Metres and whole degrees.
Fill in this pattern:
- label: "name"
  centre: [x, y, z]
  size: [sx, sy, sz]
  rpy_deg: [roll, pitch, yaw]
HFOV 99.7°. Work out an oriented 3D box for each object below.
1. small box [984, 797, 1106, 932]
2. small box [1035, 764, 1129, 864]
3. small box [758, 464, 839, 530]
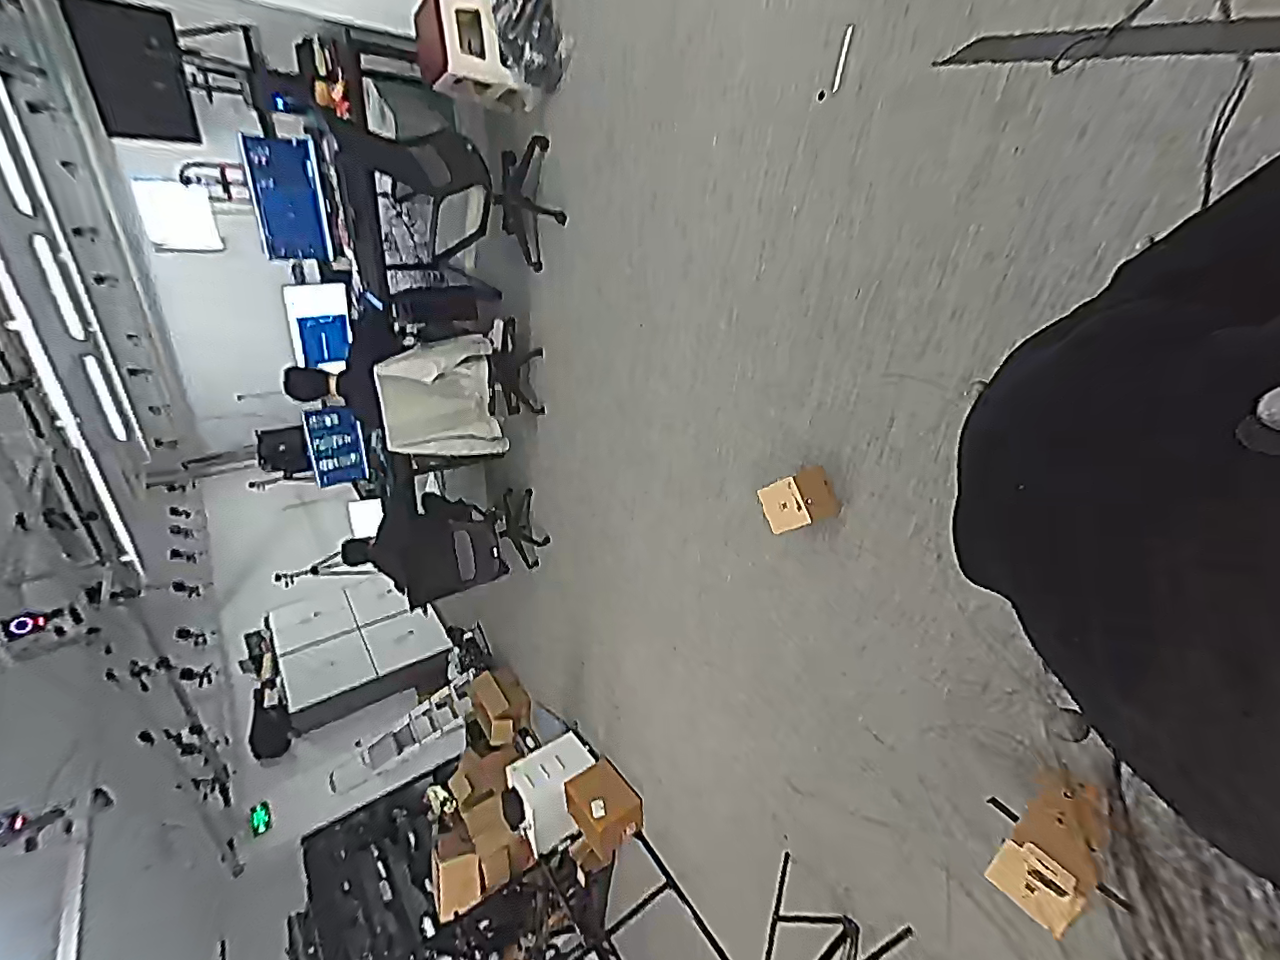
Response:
- label: "small box"
  centre: [0.983, 0.920, 1.310]
  size: [0.168, 0.176, 0.179]
  rpy_deg: [34, 130, 44]
- label: "small box"
  centre: [1.117, 0.883, 1.398]
  size: [0.168, 0.176, 0.179]
  rpy_deg: [33, 131, 45]
- label: "small box"
  centre: [0.543, 0.059, 1.853]
  size: [0.179, 0.176, 0.168]
  rpy_deg: [-32, 76, 55]
